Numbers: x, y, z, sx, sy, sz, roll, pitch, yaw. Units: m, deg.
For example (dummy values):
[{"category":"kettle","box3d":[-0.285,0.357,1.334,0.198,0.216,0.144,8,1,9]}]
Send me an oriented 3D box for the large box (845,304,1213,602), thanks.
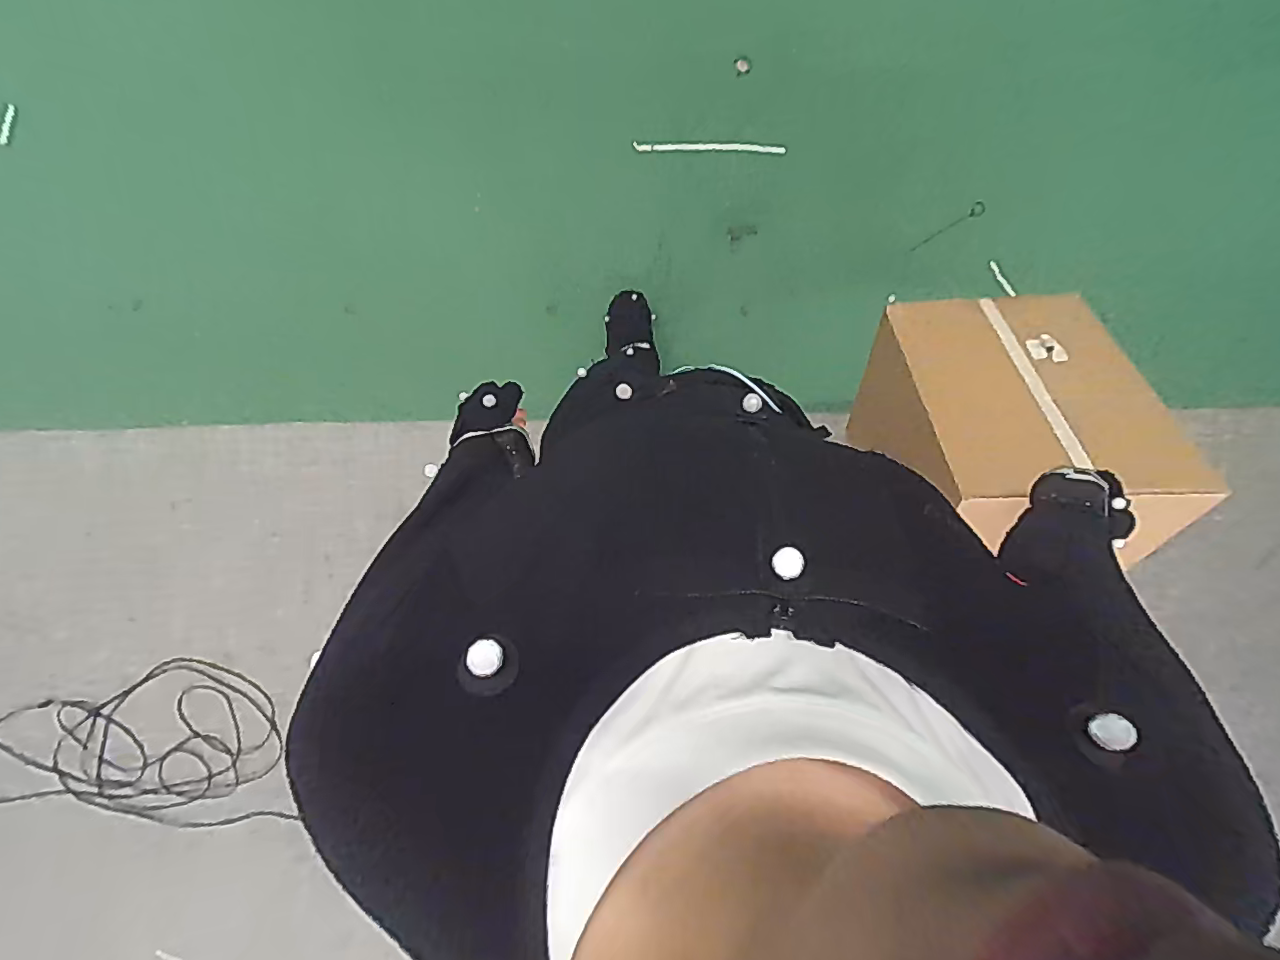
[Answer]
[{"category":"large box","box3d":[0.571,-0.043,0.913,0.320,0.408,0.320,-1,141,4]}]
